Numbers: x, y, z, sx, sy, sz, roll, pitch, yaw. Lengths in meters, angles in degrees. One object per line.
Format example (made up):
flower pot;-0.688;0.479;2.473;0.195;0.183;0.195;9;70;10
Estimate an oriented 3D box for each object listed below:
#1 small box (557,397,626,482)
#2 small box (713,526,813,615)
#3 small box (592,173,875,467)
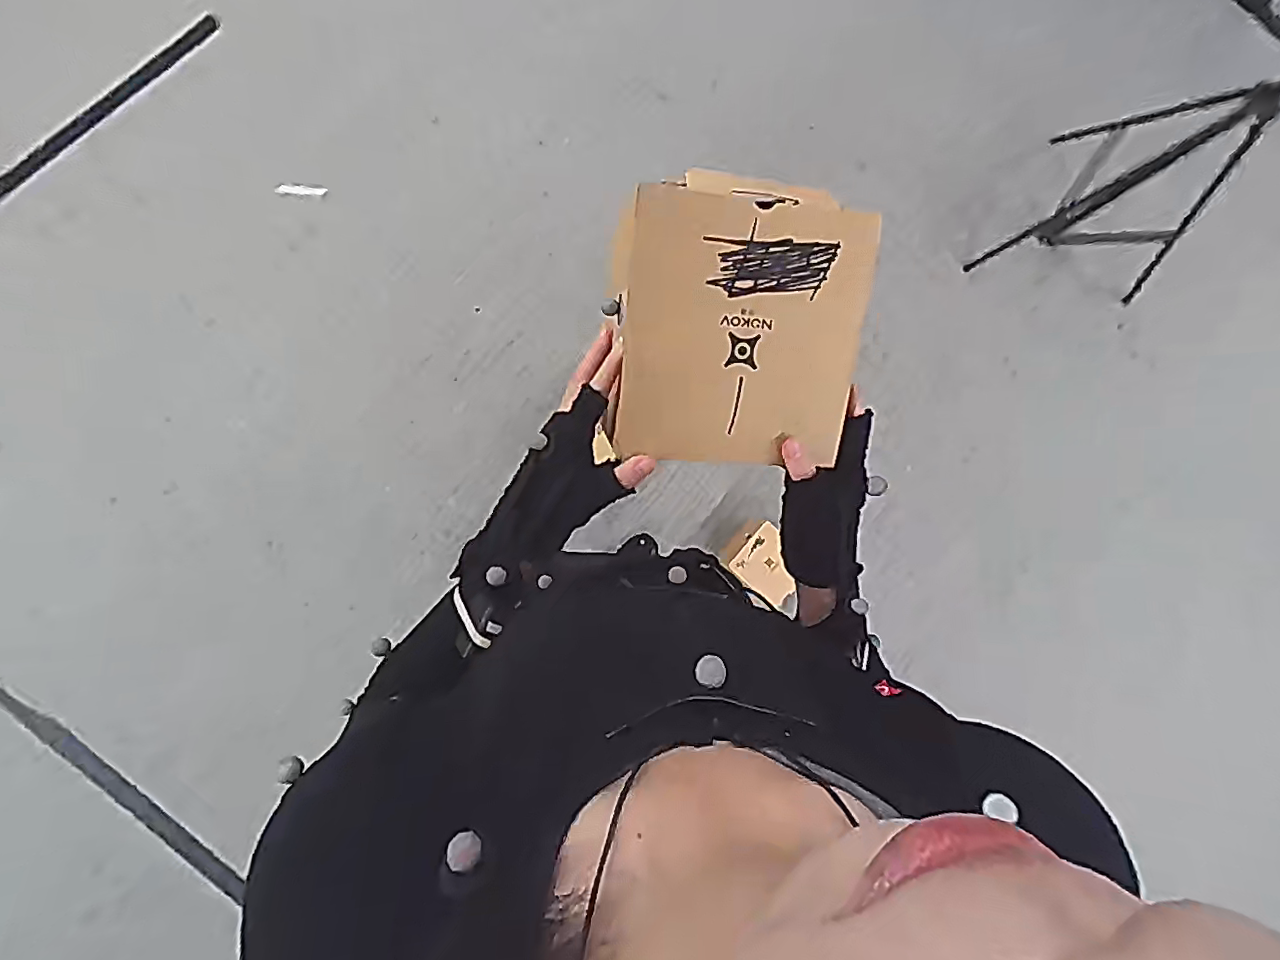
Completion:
small box;-0.109;-0.115;1.470;0.168;0.176;0.179;43;82;1
small box;0.330;0.239;1.484;0.179;0.176;0.168;44;81;-2
small box;0.053;-0.117;0.434;0.168;0.176;0.179;3;105;-10
